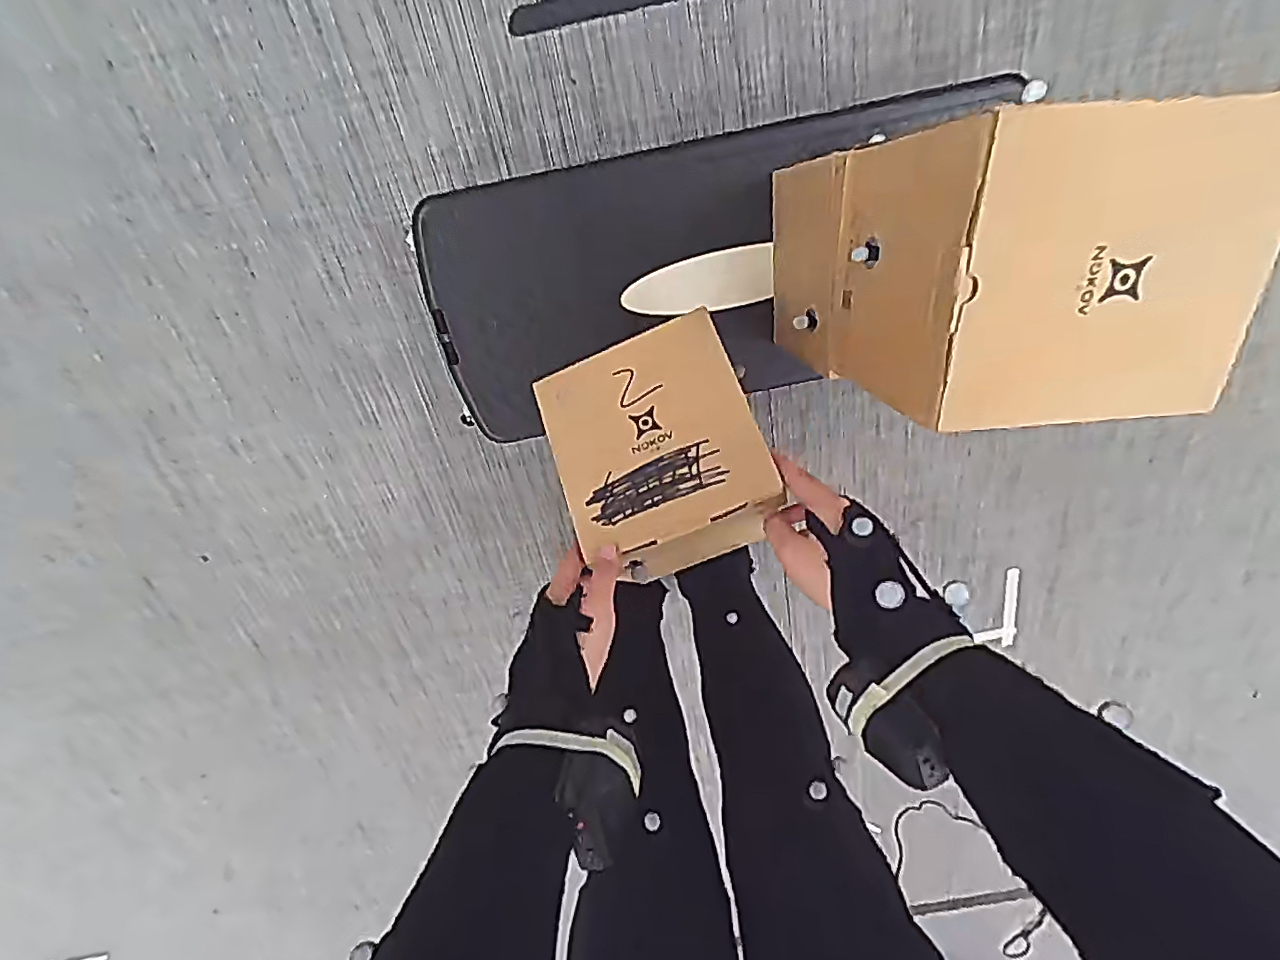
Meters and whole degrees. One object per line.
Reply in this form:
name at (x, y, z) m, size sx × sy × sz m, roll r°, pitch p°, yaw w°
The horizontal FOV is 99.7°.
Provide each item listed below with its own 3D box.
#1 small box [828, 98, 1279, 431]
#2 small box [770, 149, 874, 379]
small box at (0.249, -0.143, 0.364) m, size 0.179 × 0.176 × 0.168 m, roll -4°, pitch 116°, yaw -1°
small box at (0.227, -0.210, 0.512) m, size 0.168 × 0.176 × 0.179 m, roll -7°, pitch 115°, yaw -1°
